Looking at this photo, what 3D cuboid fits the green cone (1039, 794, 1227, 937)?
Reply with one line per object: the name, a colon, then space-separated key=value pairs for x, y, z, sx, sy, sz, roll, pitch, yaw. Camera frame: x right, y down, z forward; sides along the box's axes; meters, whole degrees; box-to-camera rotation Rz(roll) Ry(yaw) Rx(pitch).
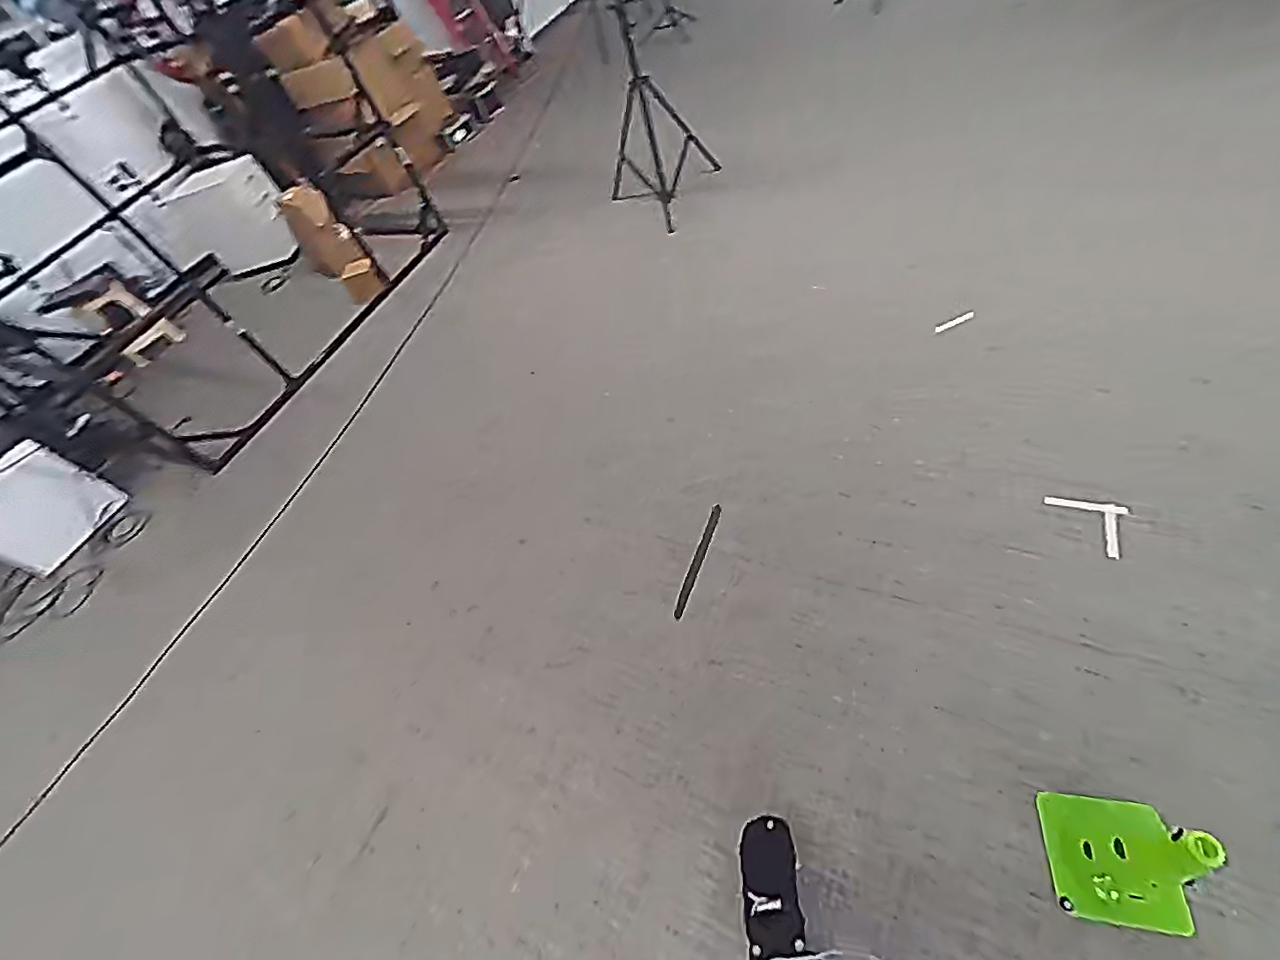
green cone: x=0.833 y=0.602 z=0.872 sx=0.200 sy=0.368 sz=0.202 roll=-2 pitch=52 yaw=18
